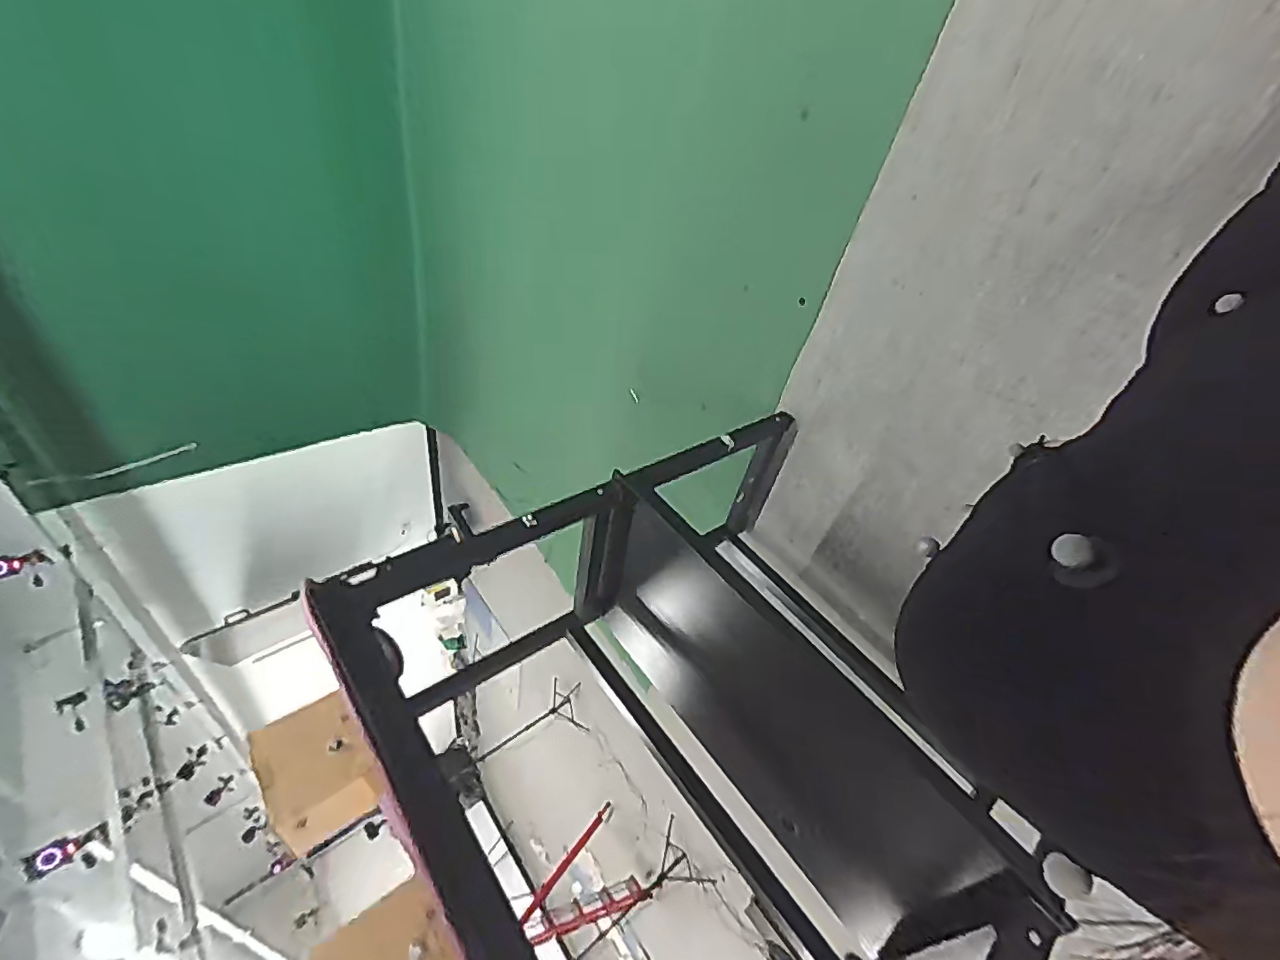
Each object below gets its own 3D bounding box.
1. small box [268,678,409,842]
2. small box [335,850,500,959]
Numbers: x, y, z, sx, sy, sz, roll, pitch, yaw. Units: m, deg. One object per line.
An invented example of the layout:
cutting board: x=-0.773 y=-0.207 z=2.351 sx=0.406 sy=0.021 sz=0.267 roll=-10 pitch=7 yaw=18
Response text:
small box: x=-0.528 y=0.495 z=0.969 sx=0.168 sy=0.176 sz=0.179 roll=45 pitch=139 yaw=29
small box: x=-0.317 y=0.695 z=0.794 sx=0.168 sy=0.176 sz=0.179 roll=44 pitch=139 yaw=30
